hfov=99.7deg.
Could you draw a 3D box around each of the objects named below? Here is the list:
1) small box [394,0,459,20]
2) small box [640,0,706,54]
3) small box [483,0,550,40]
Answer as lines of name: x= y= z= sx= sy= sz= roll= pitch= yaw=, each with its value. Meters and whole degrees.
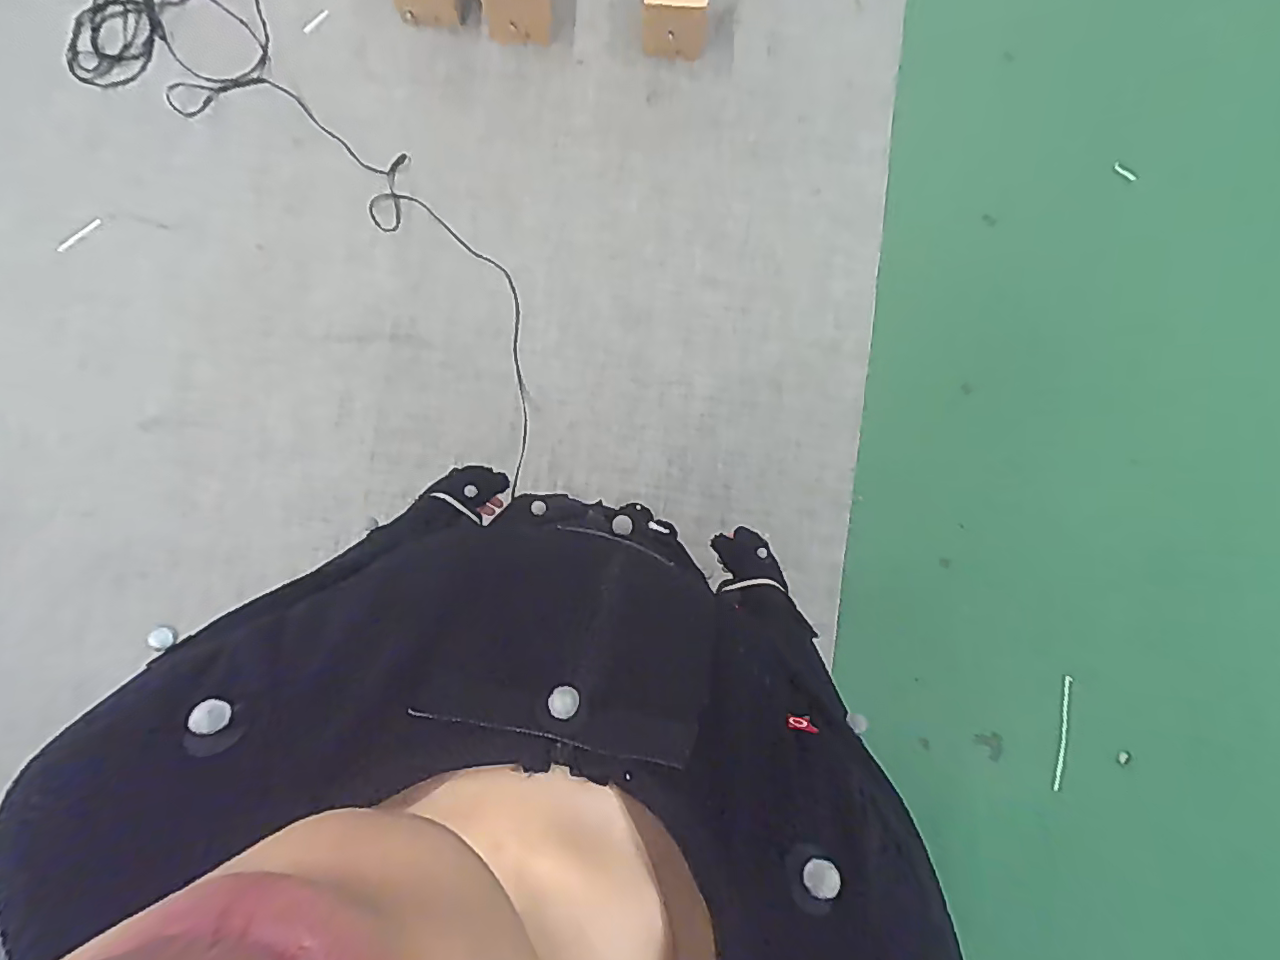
small box: x=-0.587 y=-1.384 z=1.443 sx=0.168 sy=0.176 sz=0.179 roll=4 pitch=87 yaw=-1
small box: x=0.089 y=-1.299 z=1.460 sx=0.168 sy=0.176 sz=0.179 roll=2 pitch=88 yaw=-3
small box: x=-0.336 y=-1.338 z=1.450 sx=0.168 sy=0.176 sz=0.179 roll=1 pitch=89 yaw=-1
